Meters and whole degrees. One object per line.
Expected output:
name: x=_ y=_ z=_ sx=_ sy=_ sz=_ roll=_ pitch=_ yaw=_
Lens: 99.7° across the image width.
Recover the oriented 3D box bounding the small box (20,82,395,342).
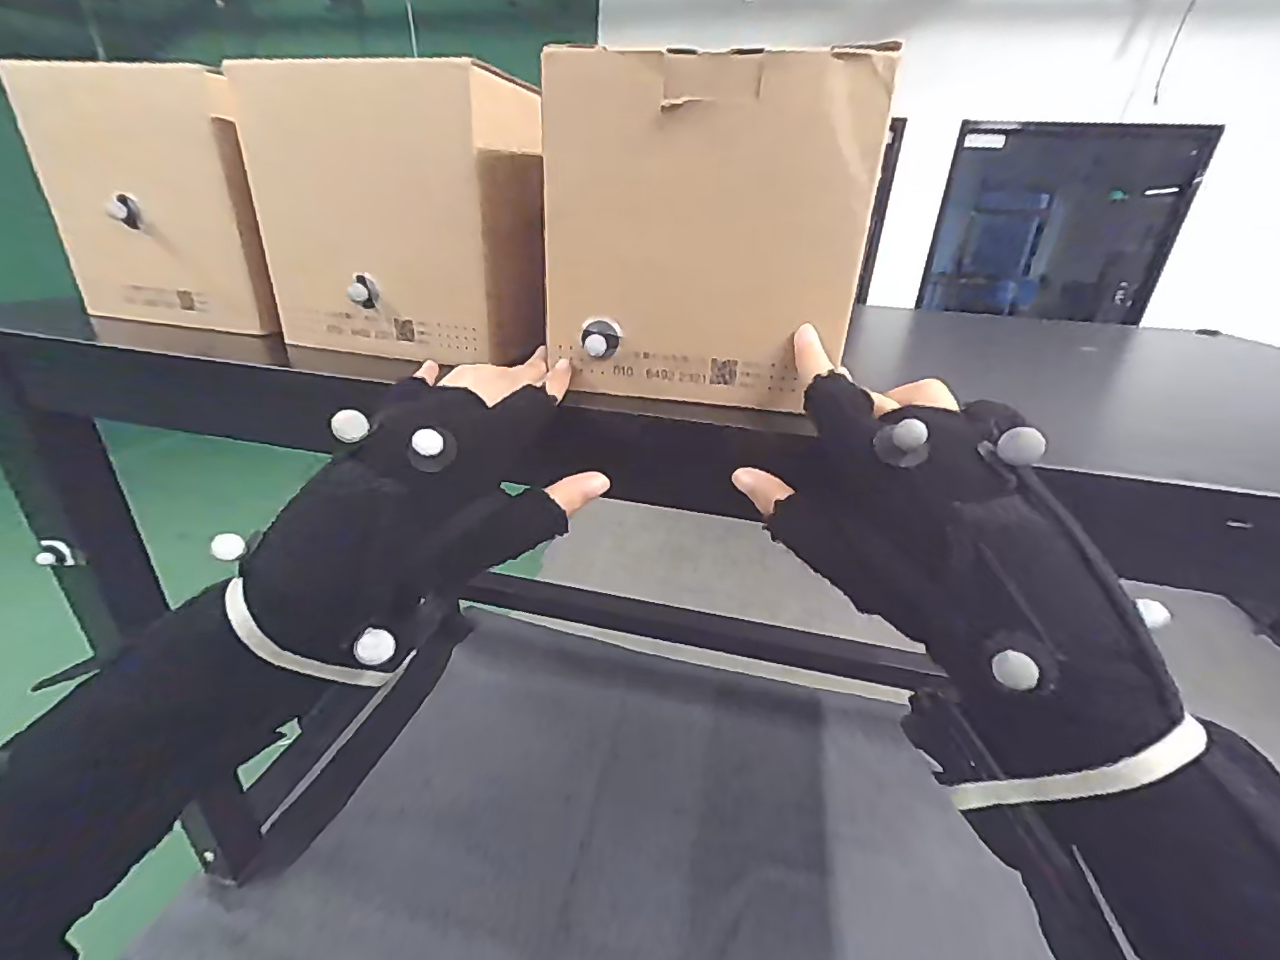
small box: x=-0.337 y=-0.221 z=0.467 sx=0.168 sy=0.176 sz=0.179 roll=10 pitch=25 yaw=10

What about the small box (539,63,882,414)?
small box: x=0.043 y=-0.150 z=0.360 sx=0.168 sy=0.176 sz=0.179 roll=7 pitch=24 yaw=9
